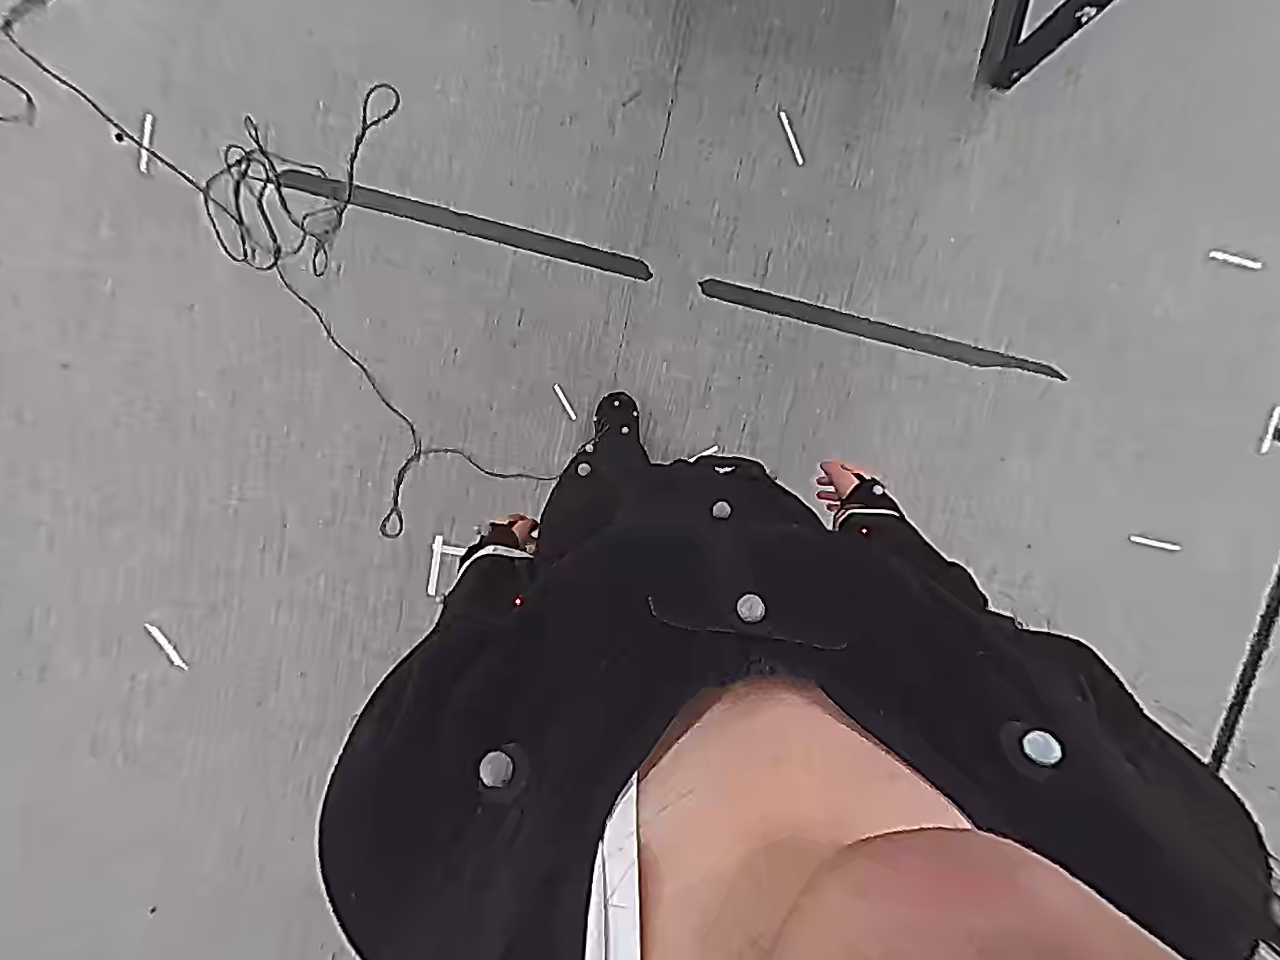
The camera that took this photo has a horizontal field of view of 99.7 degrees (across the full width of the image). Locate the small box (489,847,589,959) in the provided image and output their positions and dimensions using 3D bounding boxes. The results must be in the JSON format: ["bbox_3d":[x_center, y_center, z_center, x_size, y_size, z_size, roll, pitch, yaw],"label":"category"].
[{"bbox_3d":[-0.193,0.859,1.051,0.168,0.176,0.179,8,97,-2],"label":"small box"}]
